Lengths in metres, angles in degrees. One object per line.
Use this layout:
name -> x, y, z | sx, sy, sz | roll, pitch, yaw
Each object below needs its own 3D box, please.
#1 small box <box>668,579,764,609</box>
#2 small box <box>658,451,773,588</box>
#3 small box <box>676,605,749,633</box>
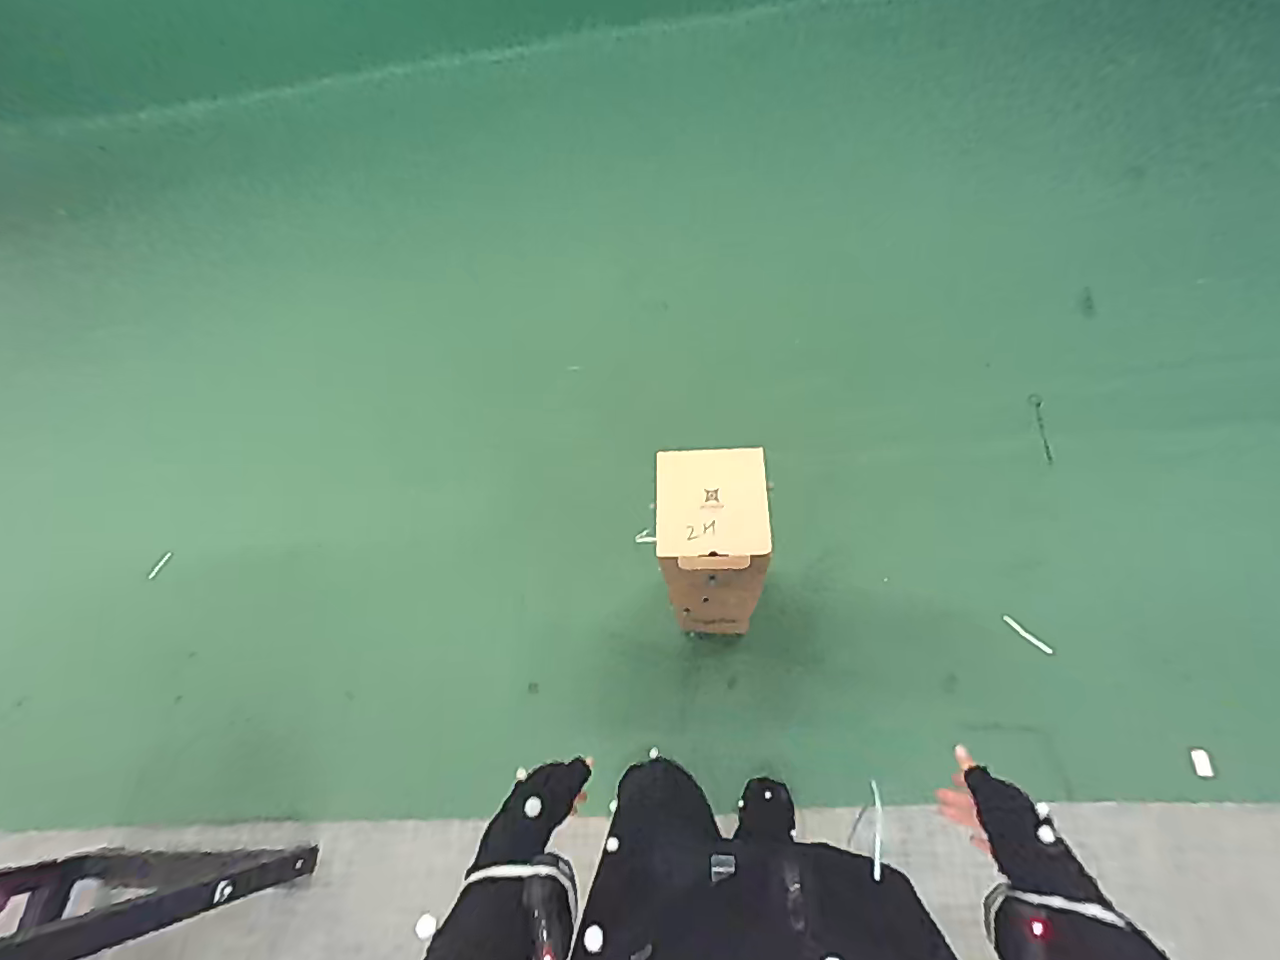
small box -> 0.137, 0.139, 1.023 | 0.168, 0.176, 0.179 | -2, 65, 6
small box -> 0.117, 0.068, 0.875 | 0.168, 0.176, 0.179 | -2, 65, 6
small box -> 0.174, 0.278, 1.318 | 0.168, 0.176, 0.179 | -4, 67, 6
